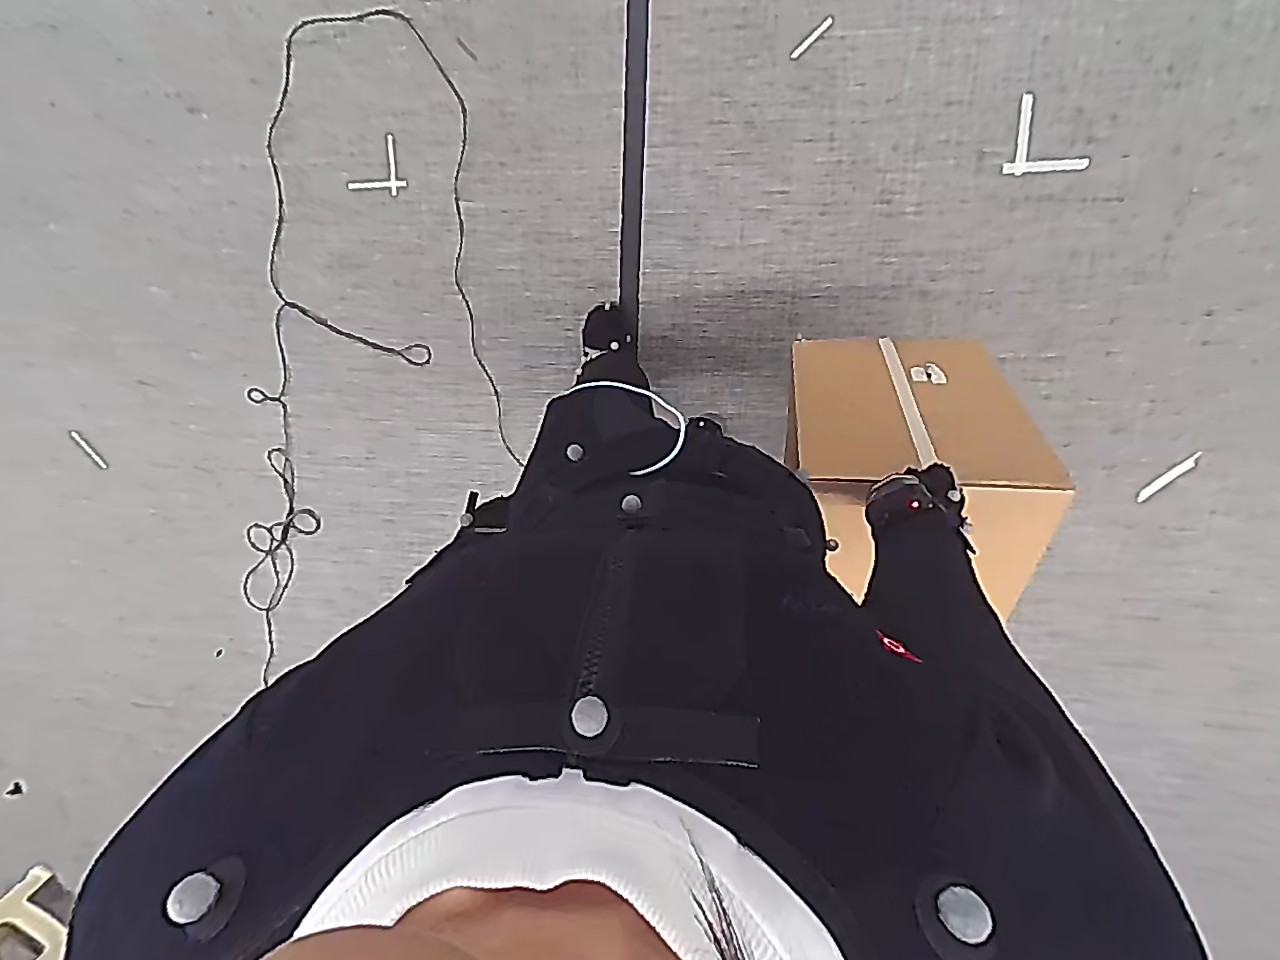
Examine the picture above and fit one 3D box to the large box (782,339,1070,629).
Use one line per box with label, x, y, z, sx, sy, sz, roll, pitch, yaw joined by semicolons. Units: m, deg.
large box;0.412;-0.006;0.912;0.320;0.408;0.320;2;129;11
